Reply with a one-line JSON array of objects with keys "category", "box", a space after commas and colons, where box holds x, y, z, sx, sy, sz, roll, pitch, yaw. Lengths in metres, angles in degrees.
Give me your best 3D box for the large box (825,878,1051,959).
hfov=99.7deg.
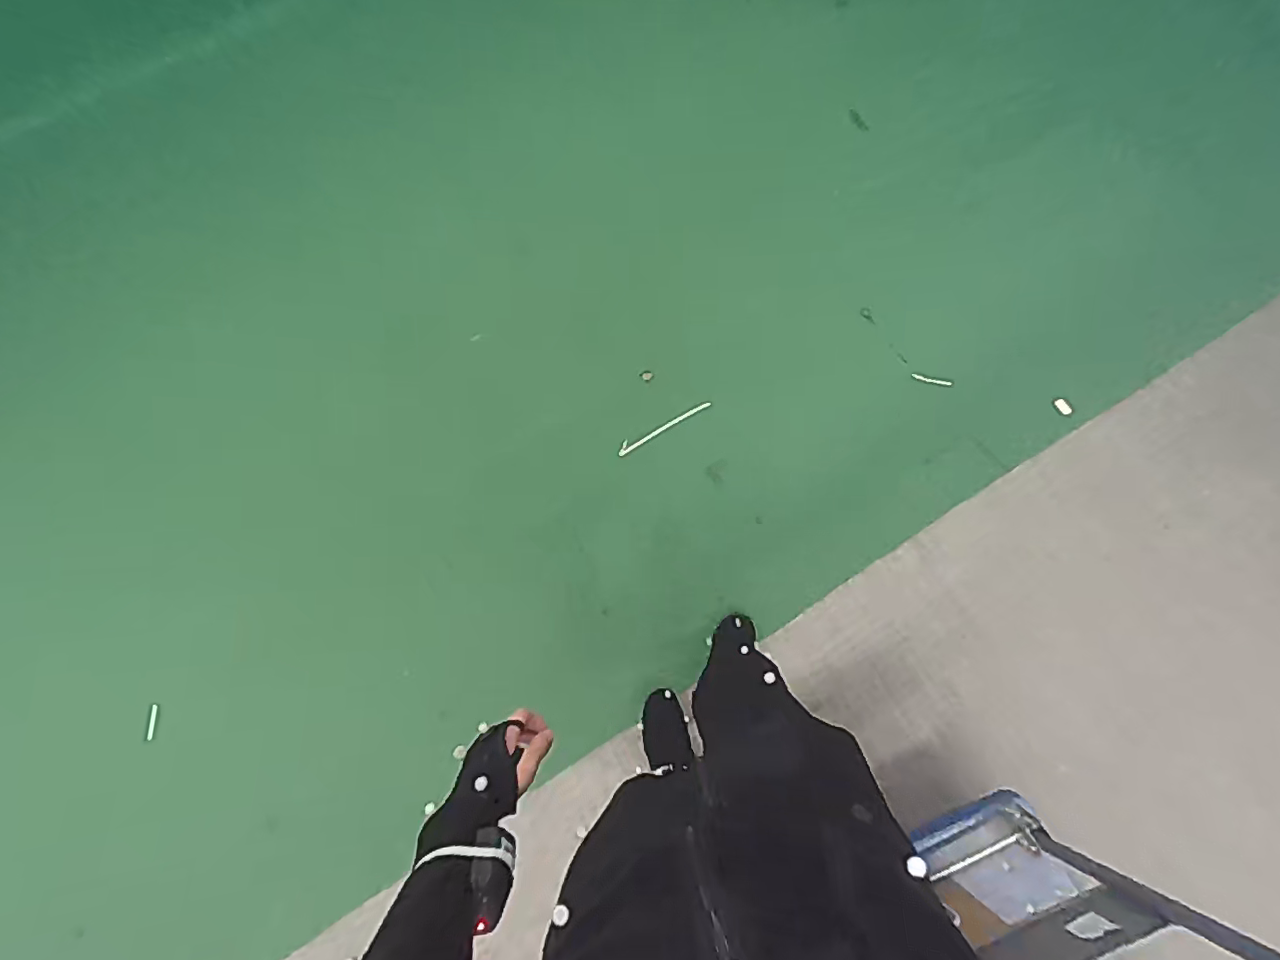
[{"category": "large box", "box": [0.585, 1.010, 0.912, 0.320, 0.320, 0.408, -25, 74, -4]}]
